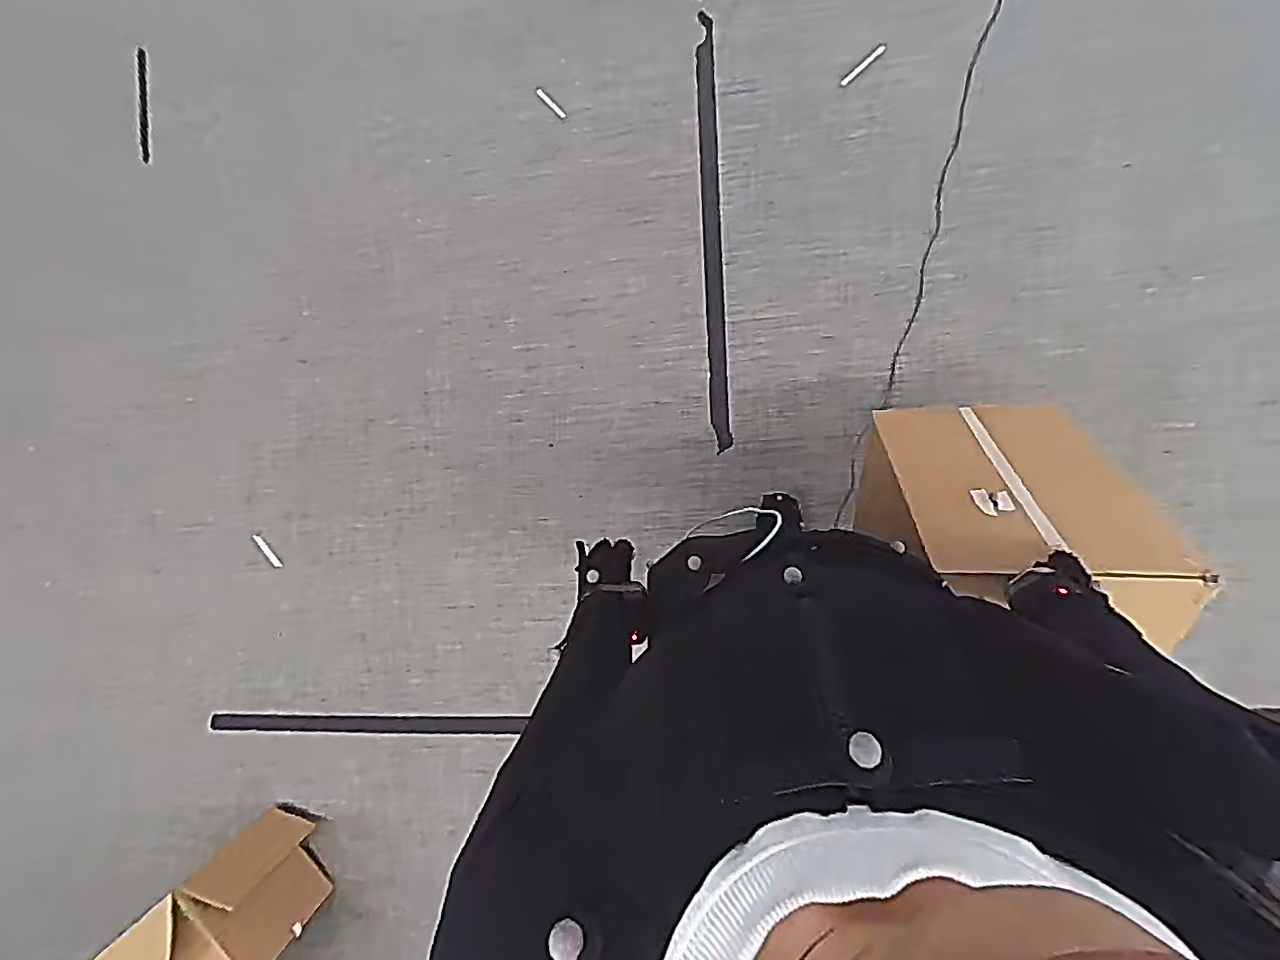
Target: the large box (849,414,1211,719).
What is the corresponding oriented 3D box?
[{"bbox_3d":[0.563,0.124,0.905,0.320,0.408,0.320,-1,128,10],"label":"large box"}]
